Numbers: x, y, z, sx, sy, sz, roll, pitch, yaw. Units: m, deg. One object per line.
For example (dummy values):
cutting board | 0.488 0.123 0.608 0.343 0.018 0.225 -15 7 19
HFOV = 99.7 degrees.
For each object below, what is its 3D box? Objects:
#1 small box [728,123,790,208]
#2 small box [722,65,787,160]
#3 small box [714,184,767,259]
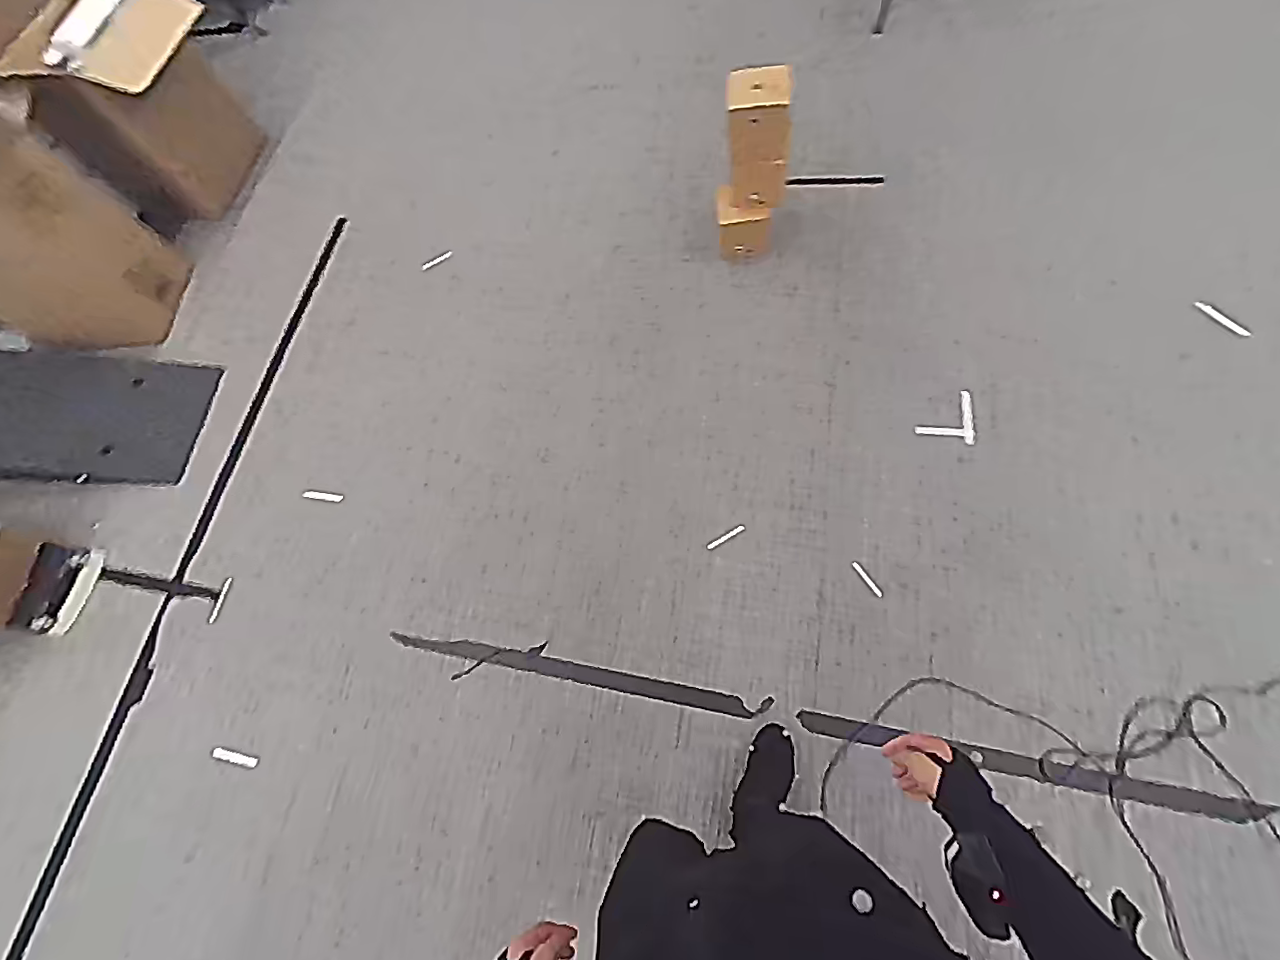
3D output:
small box | 0.378 -1.009 1.734 0.168 0.176 0.179 9 71 14
small box | 0.337 -1.070 1.587 0.179 0.176 0.168 2 69 11
small box | 0.344 -0.901 1.875 0.168 0.176 0.179 -5 69 9
